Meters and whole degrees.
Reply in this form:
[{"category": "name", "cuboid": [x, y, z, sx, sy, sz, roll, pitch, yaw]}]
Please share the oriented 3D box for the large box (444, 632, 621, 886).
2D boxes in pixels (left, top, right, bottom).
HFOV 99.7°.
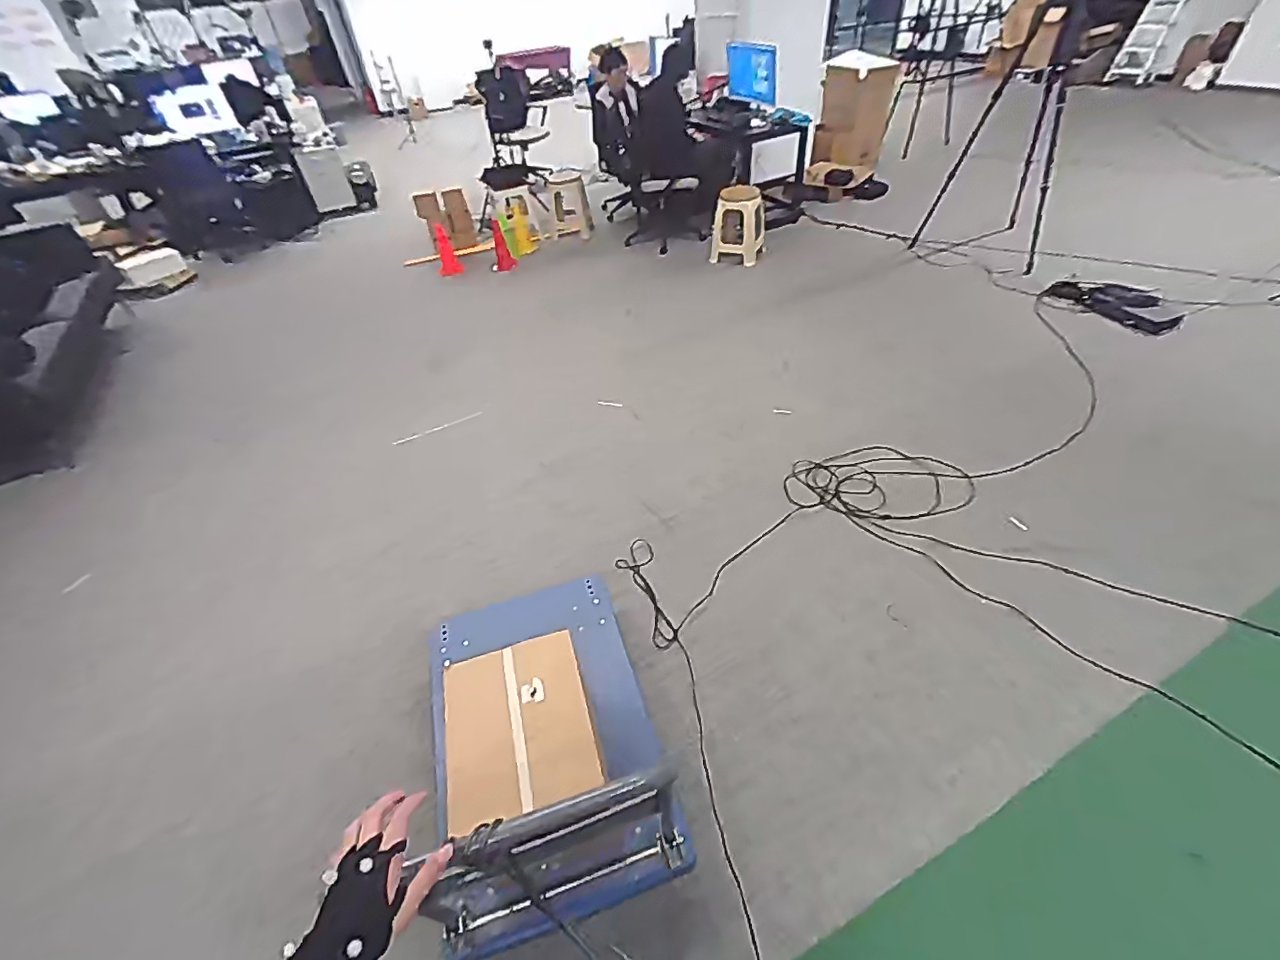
[{"category": "large box", "cuboid": [-0.257, 0.651, 1.289, 0.320, 0.320, 0.408, -14, 43, -10]}]
